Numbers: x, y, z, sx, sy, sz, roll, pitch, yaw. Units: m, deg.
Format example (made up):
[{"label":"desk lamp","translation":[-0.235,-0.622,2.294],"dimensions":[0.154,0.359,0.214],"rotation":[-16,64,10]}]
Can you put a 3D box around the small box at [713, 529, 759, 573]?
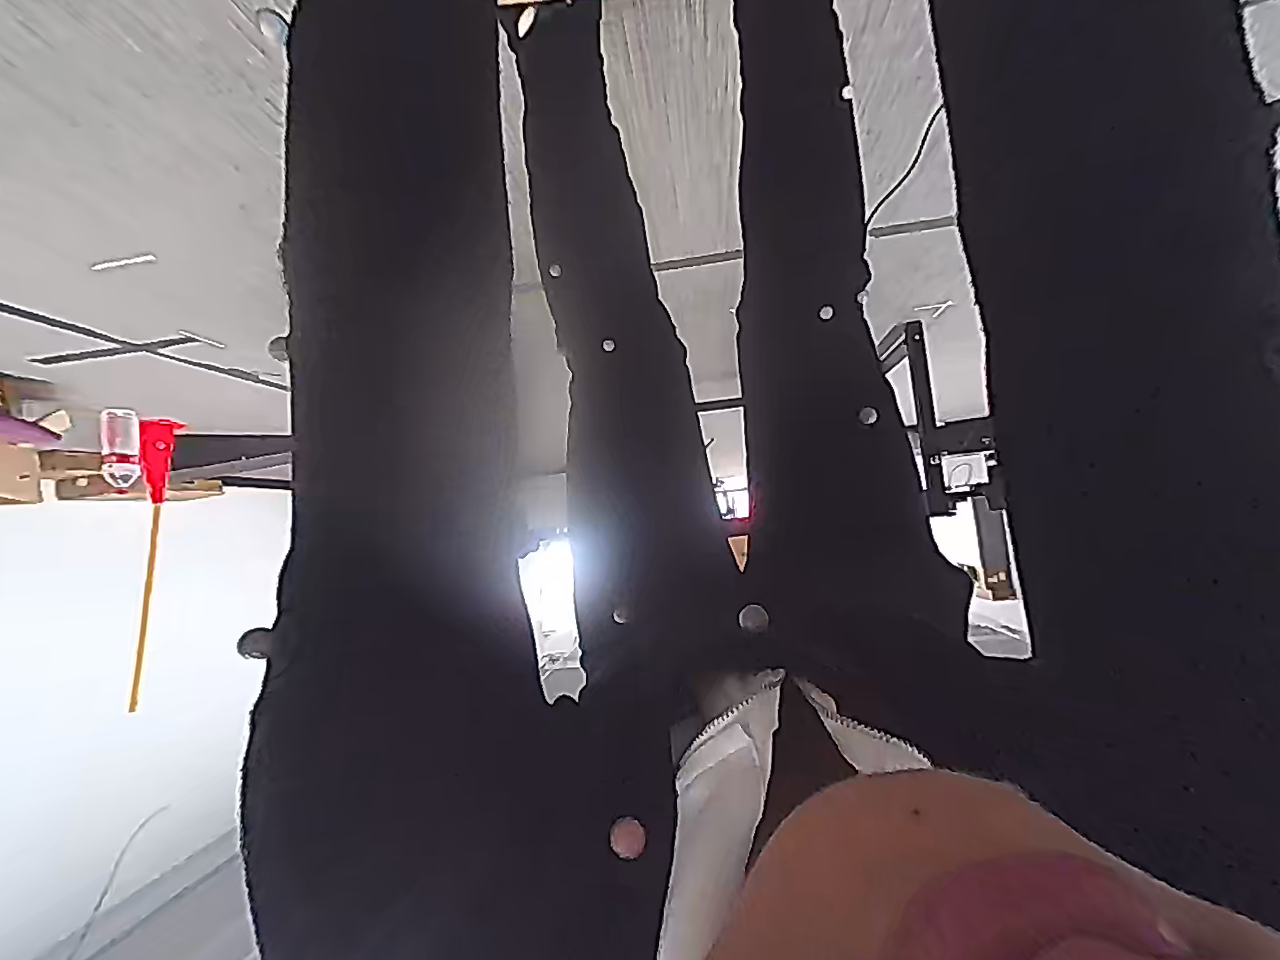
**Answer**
[{"label":"small box","translation":[0.419,0.303,2.358],"dimensions":[0.179,0.176,0.168],"rotation":[-8,175,12]}]
